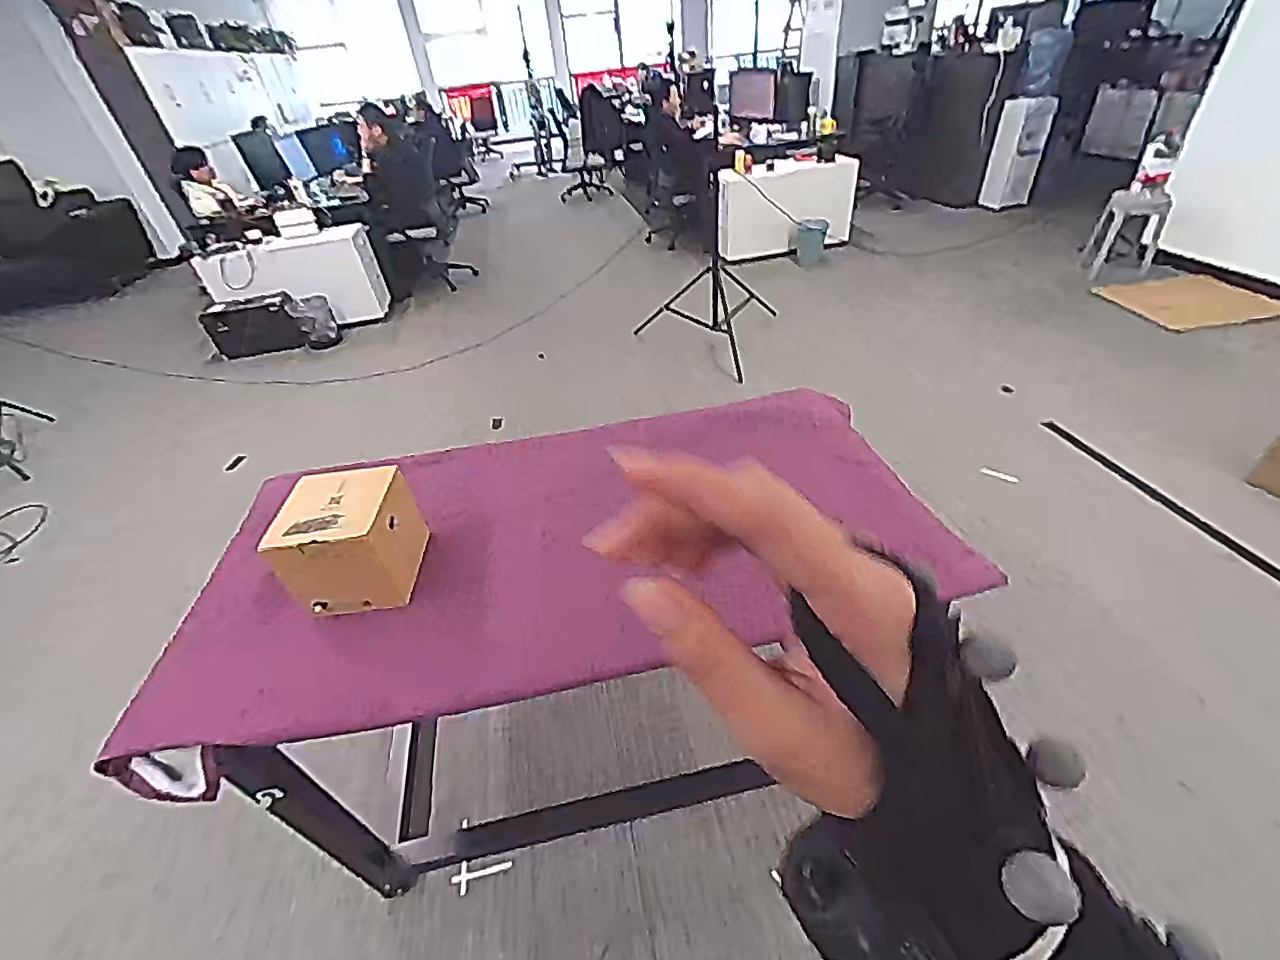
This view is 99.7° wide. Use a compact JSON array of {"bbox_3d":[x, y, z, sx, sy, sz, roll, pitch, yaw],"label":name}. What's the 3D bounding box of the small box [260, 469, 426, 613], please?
[{"bbox_3d":[-0.479,0.108,0.909,0.168,0.176,0.179,-7,38,-1],"label":"small box"}]
